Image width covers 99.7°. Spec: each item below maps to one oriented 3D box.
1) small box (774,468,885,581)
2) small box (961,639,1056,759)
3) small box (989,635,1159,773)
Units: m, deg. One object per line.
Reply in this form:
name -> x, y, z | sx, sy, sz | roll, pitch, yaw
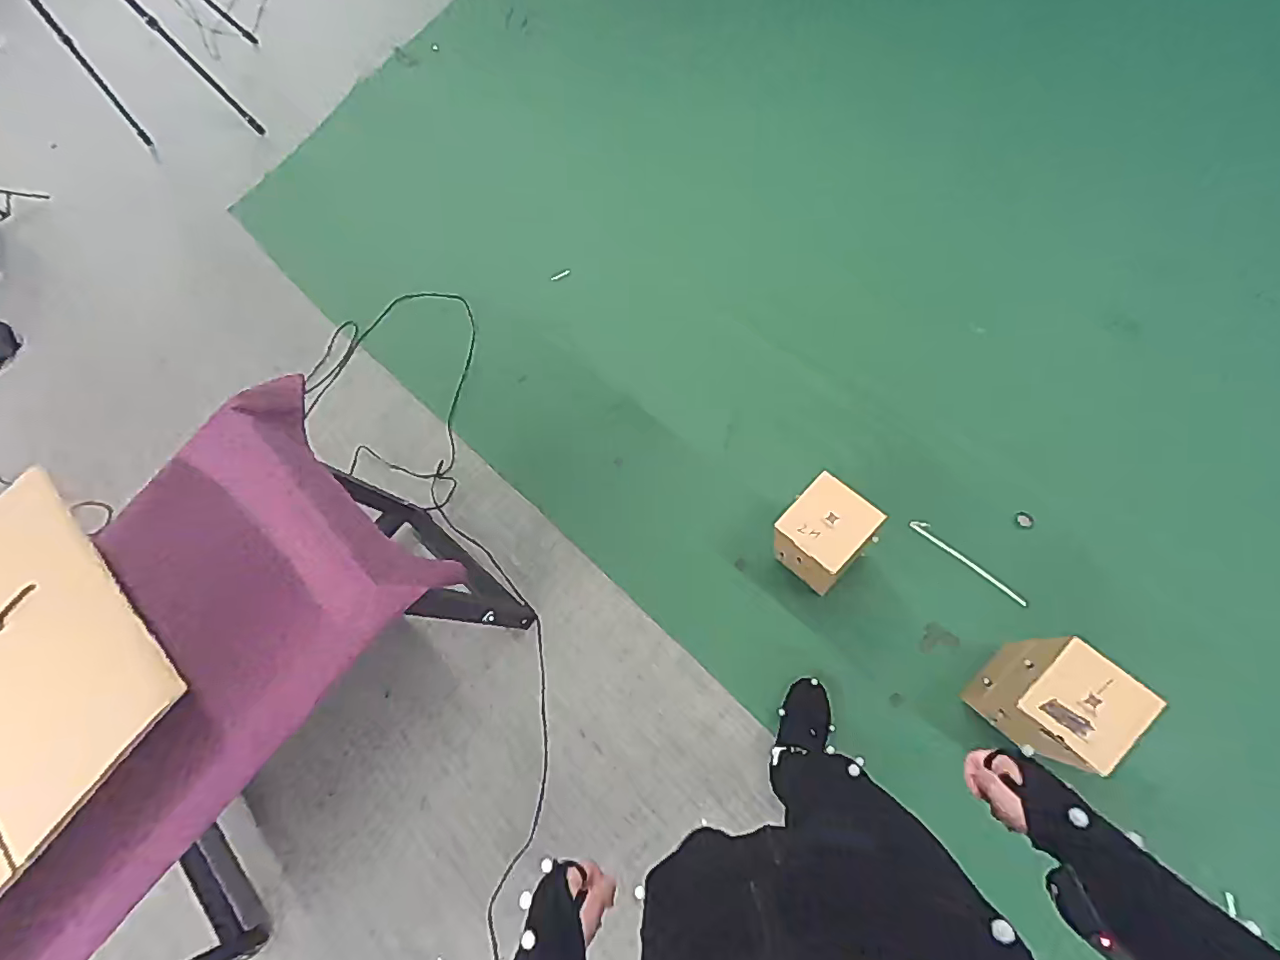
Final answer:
small box -> 0.426, 0.108, 1.247 | 0.179, 0.176, 0.168 | -45, 67, -4
small box -> 0.853, 0.474, 1.197 | 0.168, 0.176, 0.179 | 42, 86, 22
small box -> 0.816, 0.424, 1.045 | 0.179, 0.176, 0.168 | -45, 69, -4
